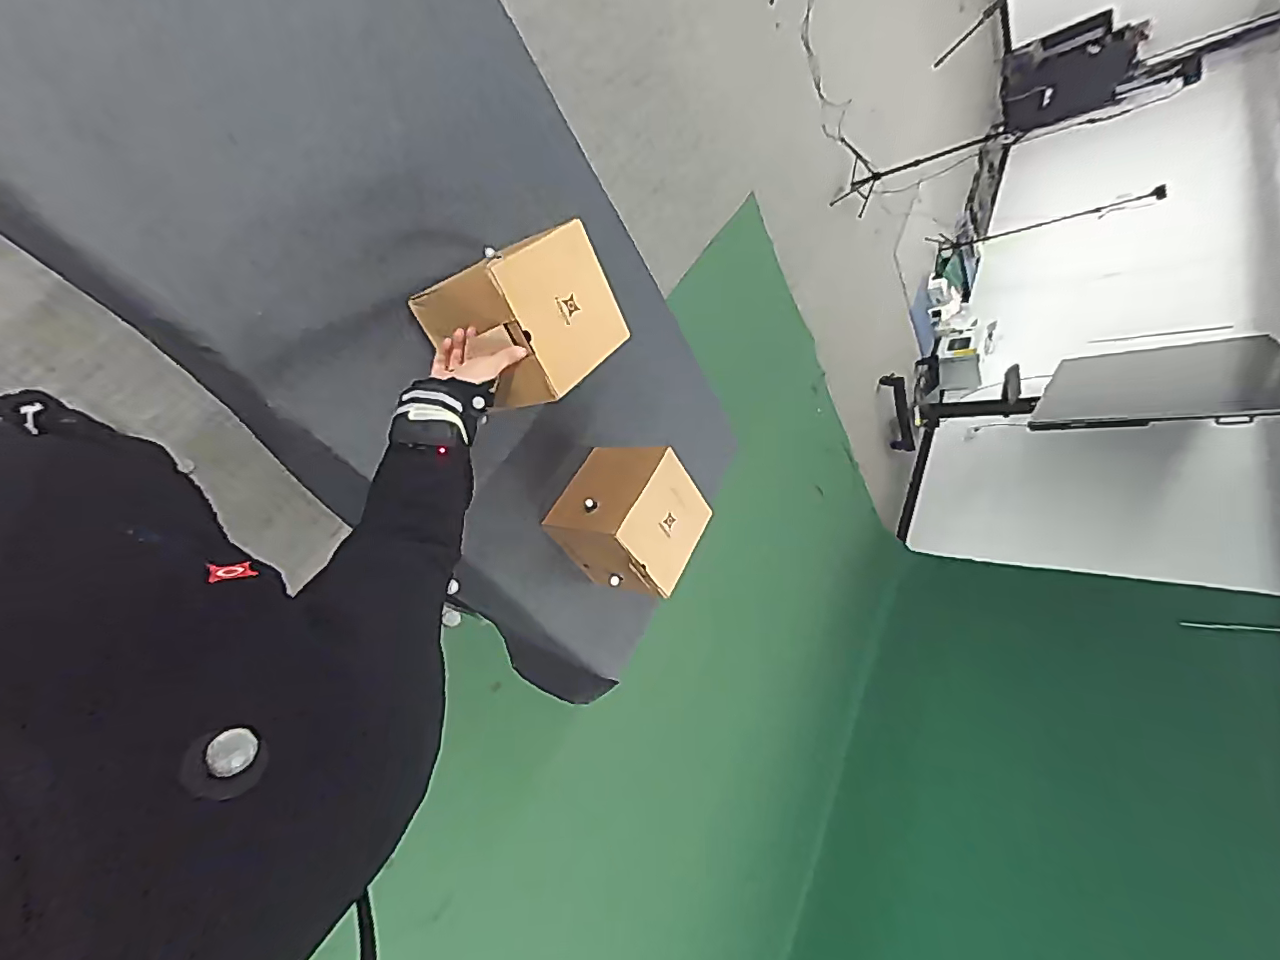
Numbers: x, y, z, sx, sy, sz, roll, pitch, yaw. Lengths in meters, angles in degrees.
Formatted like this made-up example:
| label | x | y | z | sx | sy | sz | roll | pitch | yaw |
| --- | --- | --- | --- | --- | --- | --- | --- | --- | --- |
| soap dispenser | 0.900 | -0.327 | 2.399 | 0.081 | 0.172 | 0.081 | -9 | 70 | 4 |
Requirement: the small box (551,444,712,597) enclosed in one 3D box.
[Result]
| label | x | y | z | sx | sy | sz | roll | pitch | yaw |
| --- | --- | --- | --- | --- | --- | --- | --- | --- | --- |
| small box | -0.017 | 0.061 | 0.871 | 0.168 | 0.176 | 0.179 | 55 | 52 | -36 |

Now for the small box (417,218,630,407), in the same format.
| label | x | y | z | sx | sy | sz | roll | pitch | yaw |
| --- | --- | --- | --- | --- | --- | --- | --- | --- | --- |
| small box | -0.147 | -0.211 | 0.703 | 0.179 | 0.176 | 0.168 | -52 | 128 | -38 |
